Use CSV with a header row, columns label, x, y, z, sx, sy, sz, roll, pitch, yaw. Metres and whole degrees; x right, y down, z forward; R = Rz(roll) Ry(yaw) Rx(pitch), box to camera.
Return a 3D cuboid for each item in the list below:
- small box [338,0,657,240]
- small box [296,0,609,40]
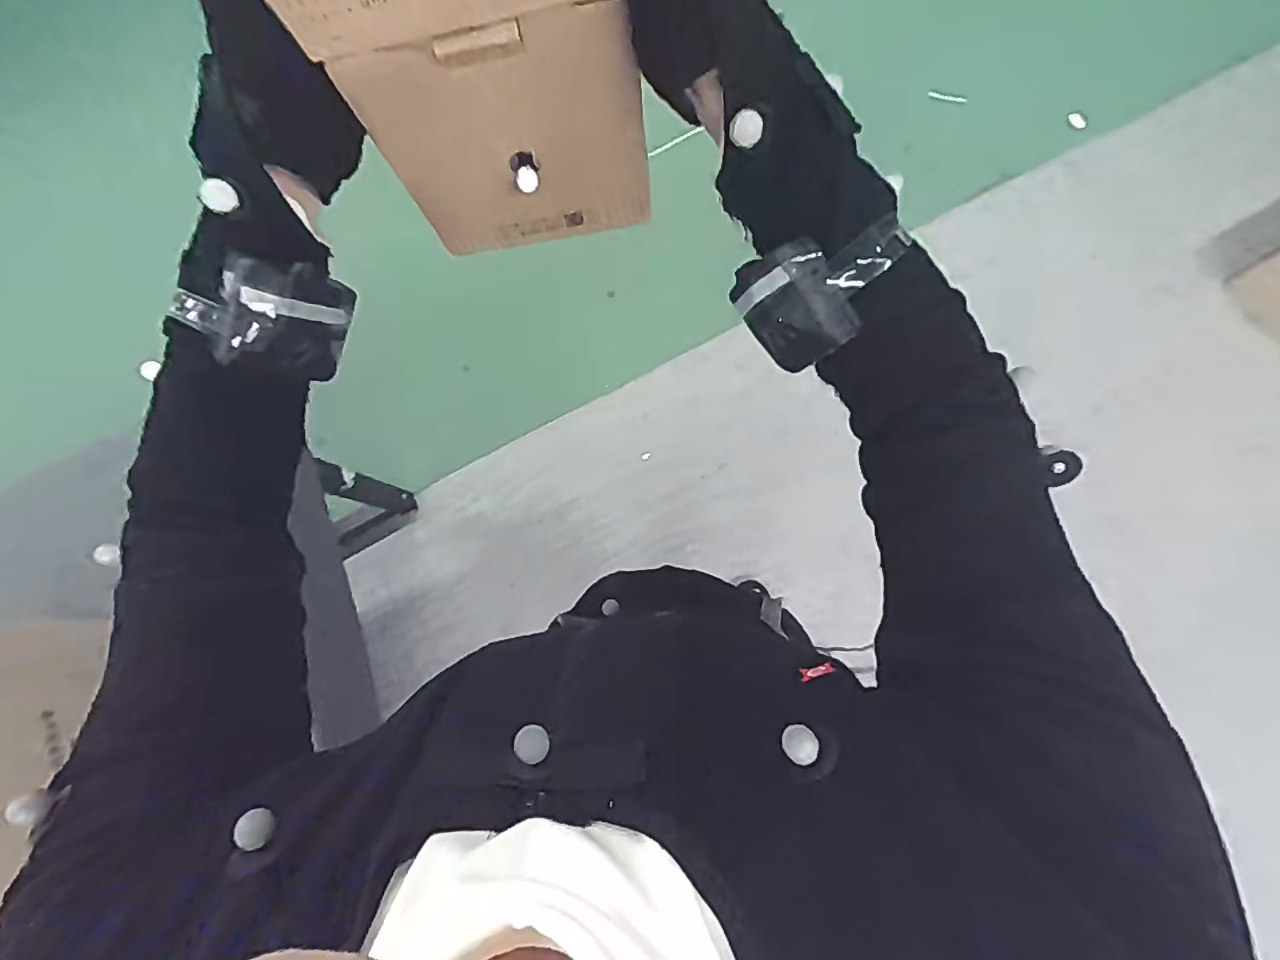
label,x,y,z,sx,sy,sz,roll,pitch,yaw
small box,-0.082,-0.293,0.379,0.168,0.176,0.179,-8,78,4
small box,-0.103,-0.325,0.220,0.168,0.176,0.179,-9,76,3
